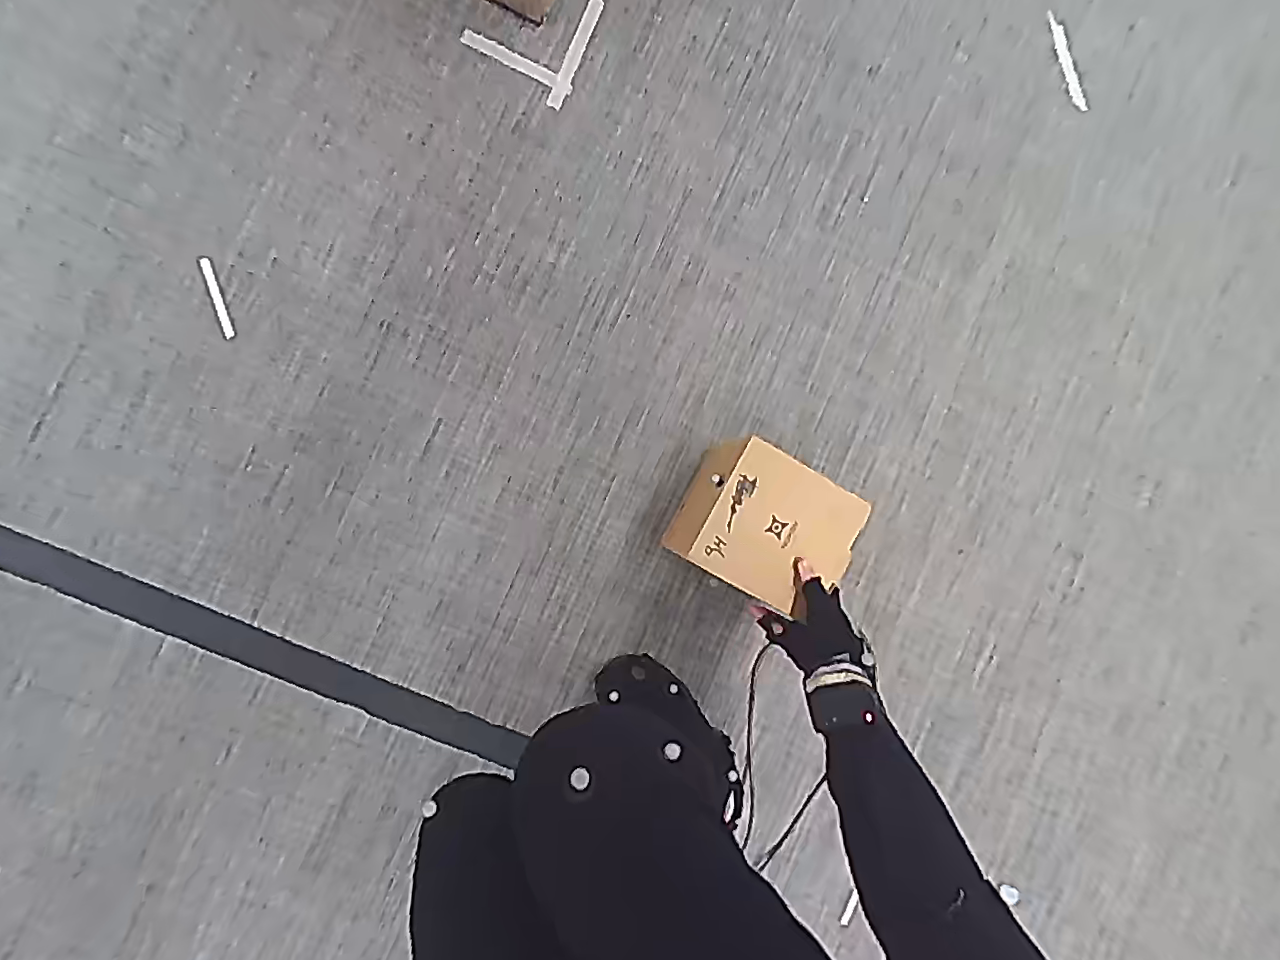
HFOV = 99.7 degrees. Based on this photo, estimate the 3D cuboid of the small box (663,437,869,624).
[{"bbox_3d":[0.152,0.058,0.708,0.179,0.176,0.168,29,86,-7],"label":"small box"}]
